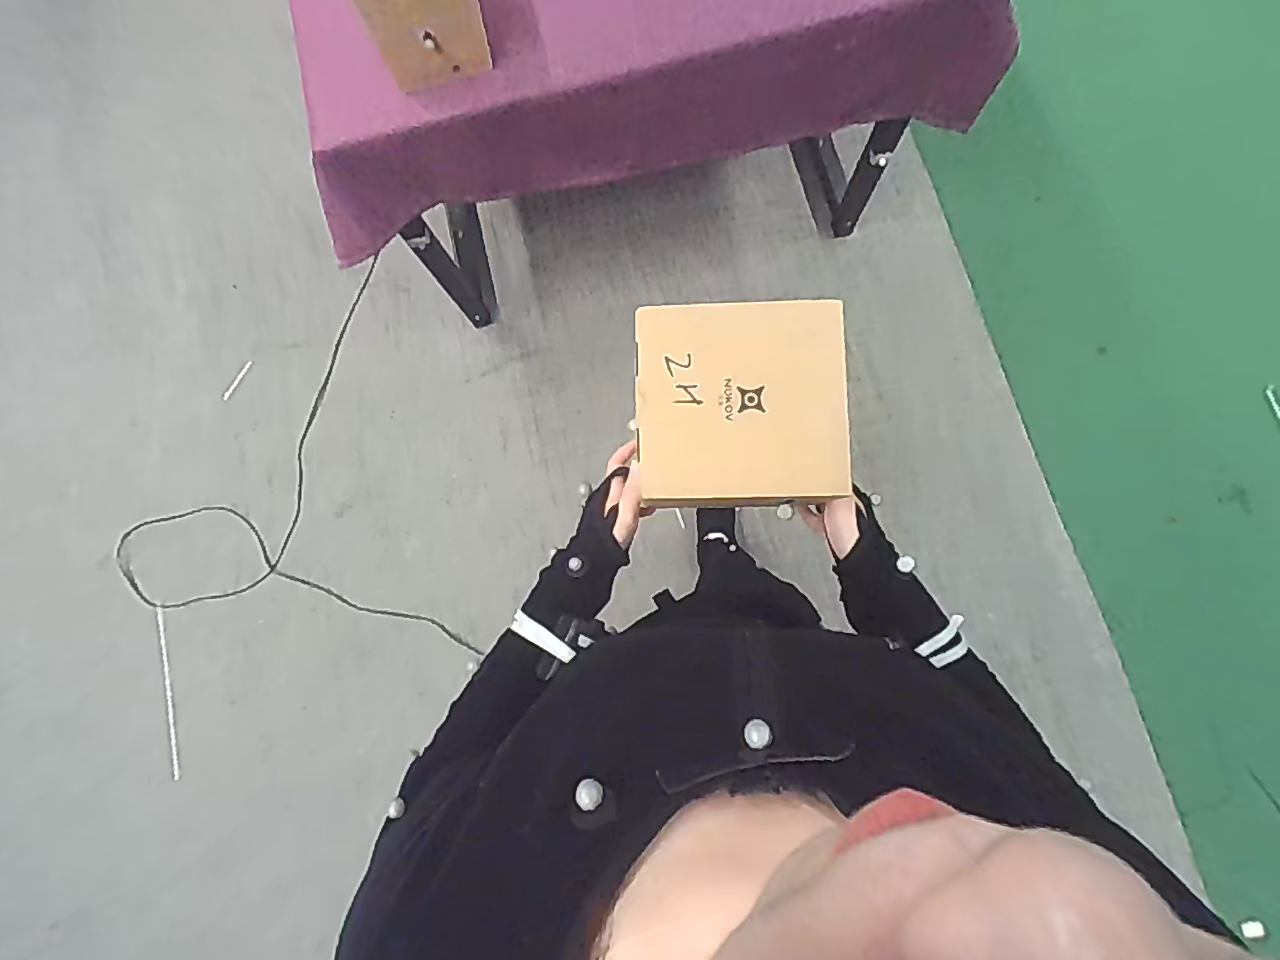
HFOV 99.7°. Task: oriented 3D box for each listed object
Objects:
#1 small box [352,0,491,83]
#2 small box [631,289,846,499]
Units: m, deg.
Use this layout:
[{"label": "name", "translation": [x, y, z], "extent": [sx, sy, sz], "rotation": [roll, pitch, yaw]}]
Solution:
[{"label": "small box", "translation": [-0.356, -0.789, 0.876], "extent": [0.168, 0.176, 0.179], "rotation": [-14, 80, 1]}, {"label": "small box", "translation": [0.085, -0.070, 0.527], "extent": [0.179, 0.176, 0.168], "rotation": [-1, 84, 5]}]
